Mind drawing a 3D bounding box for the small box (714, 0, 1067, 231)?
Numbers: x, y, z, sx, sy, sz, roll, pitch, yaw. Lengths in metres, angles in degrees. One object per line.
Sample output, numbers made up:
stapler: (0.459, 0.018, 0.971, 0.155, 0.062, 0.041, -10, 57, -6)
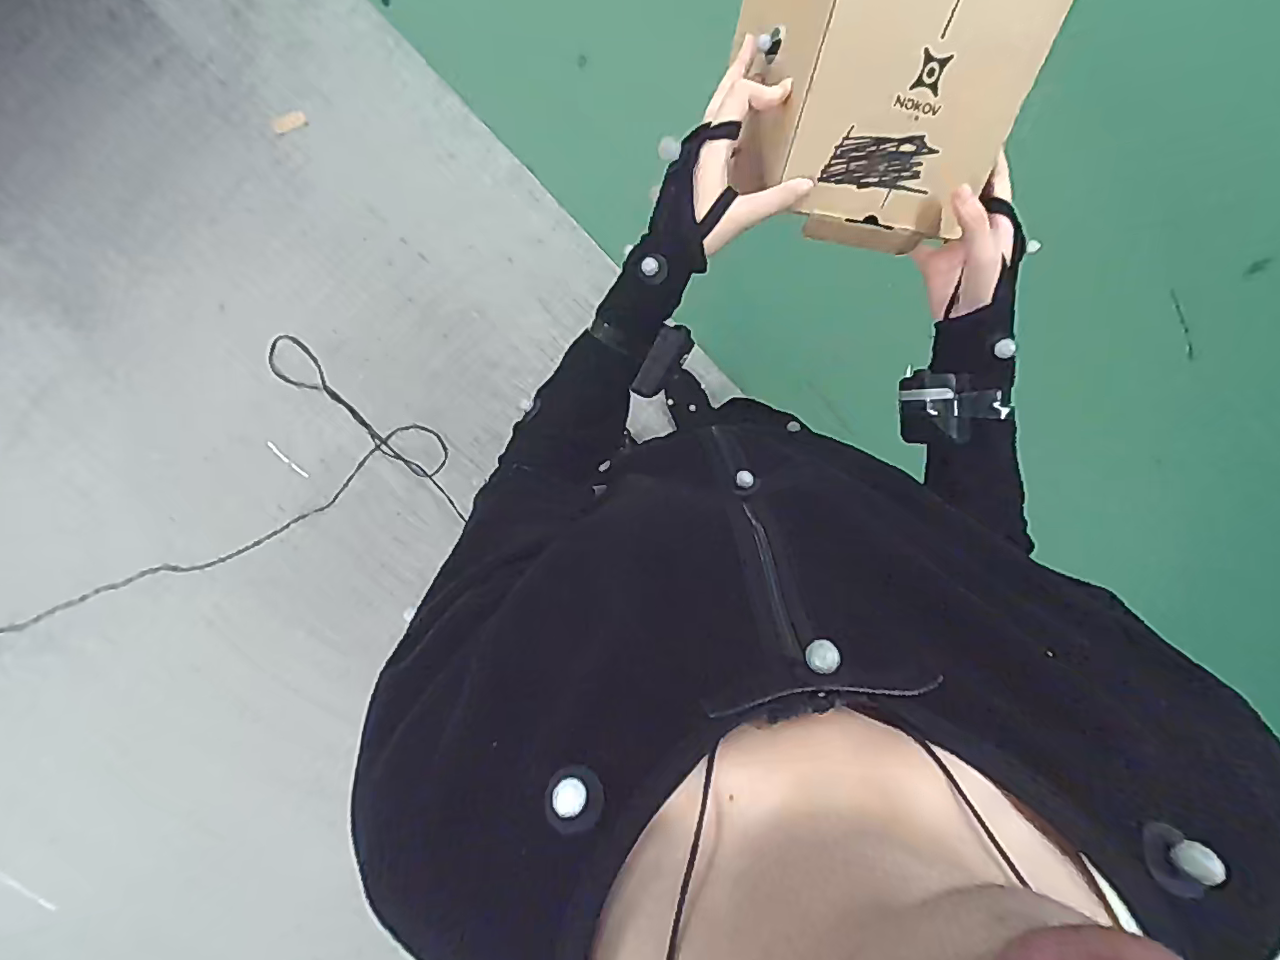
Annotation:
small box: (0.170, -0.317, 0.423, 0.168, 0.176, 0.179, 1, 126, -16)
